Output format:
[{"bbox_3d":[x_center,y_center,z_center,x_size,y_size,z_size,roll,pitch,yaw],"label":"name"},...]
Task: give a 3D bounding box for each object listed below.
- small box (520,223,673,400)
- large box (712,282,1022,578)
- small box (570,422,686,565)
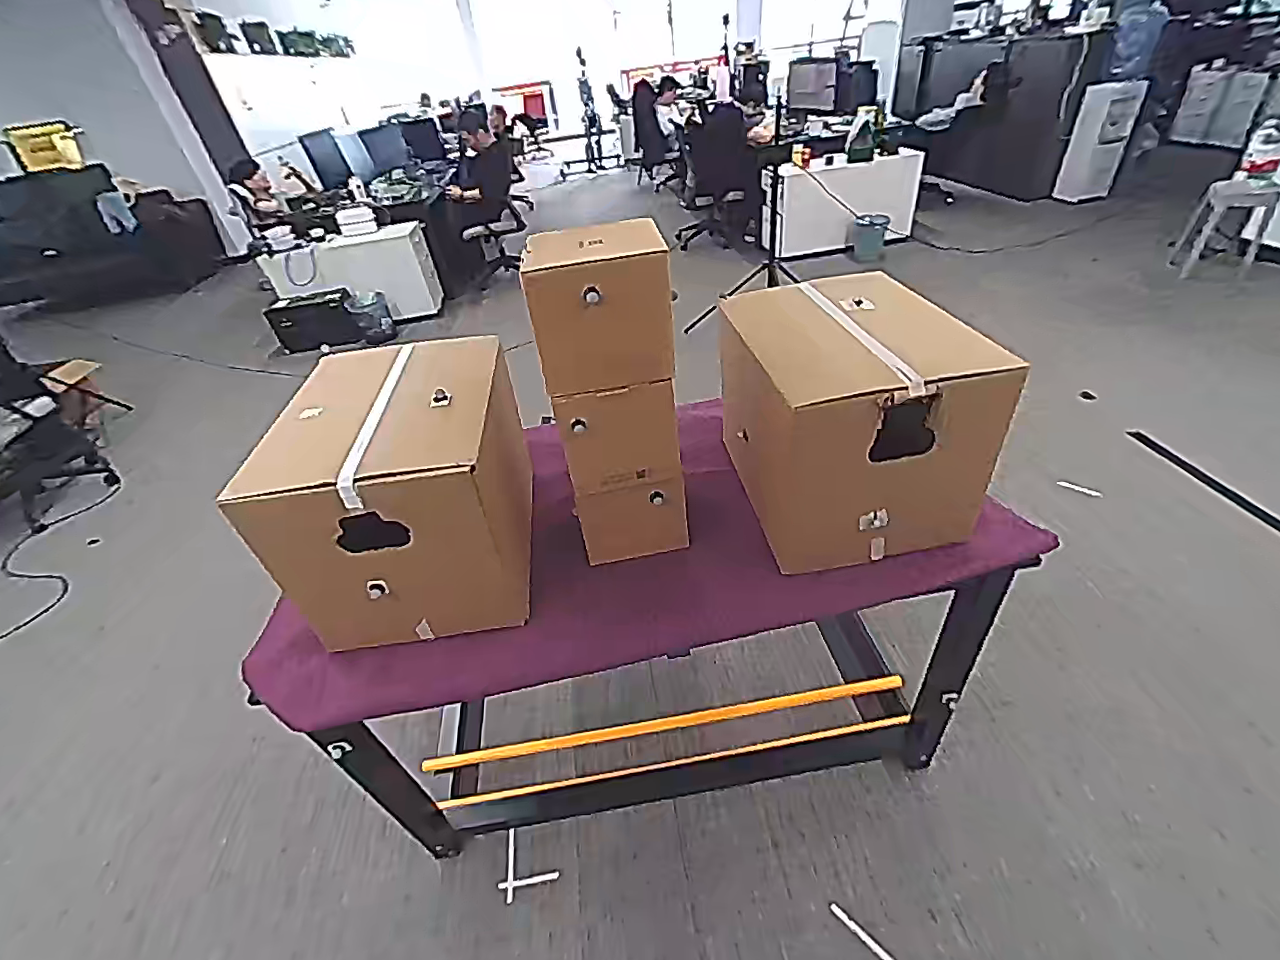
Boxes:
[{"bbox_3d":[-0.052,-0.228,0.733,0.179,0.176,0.168,-10,38,0],"label":"small box"},{"bbox_3d":[0.329,-0.102,0.920,0.320,0.320,0.408,-10,37,-2],"label":"large box"},{"bbox_3d":[-0.019,0.024,0.939,0.179,0.176,0.168,-11,37,-2],"label":"small box"}]
